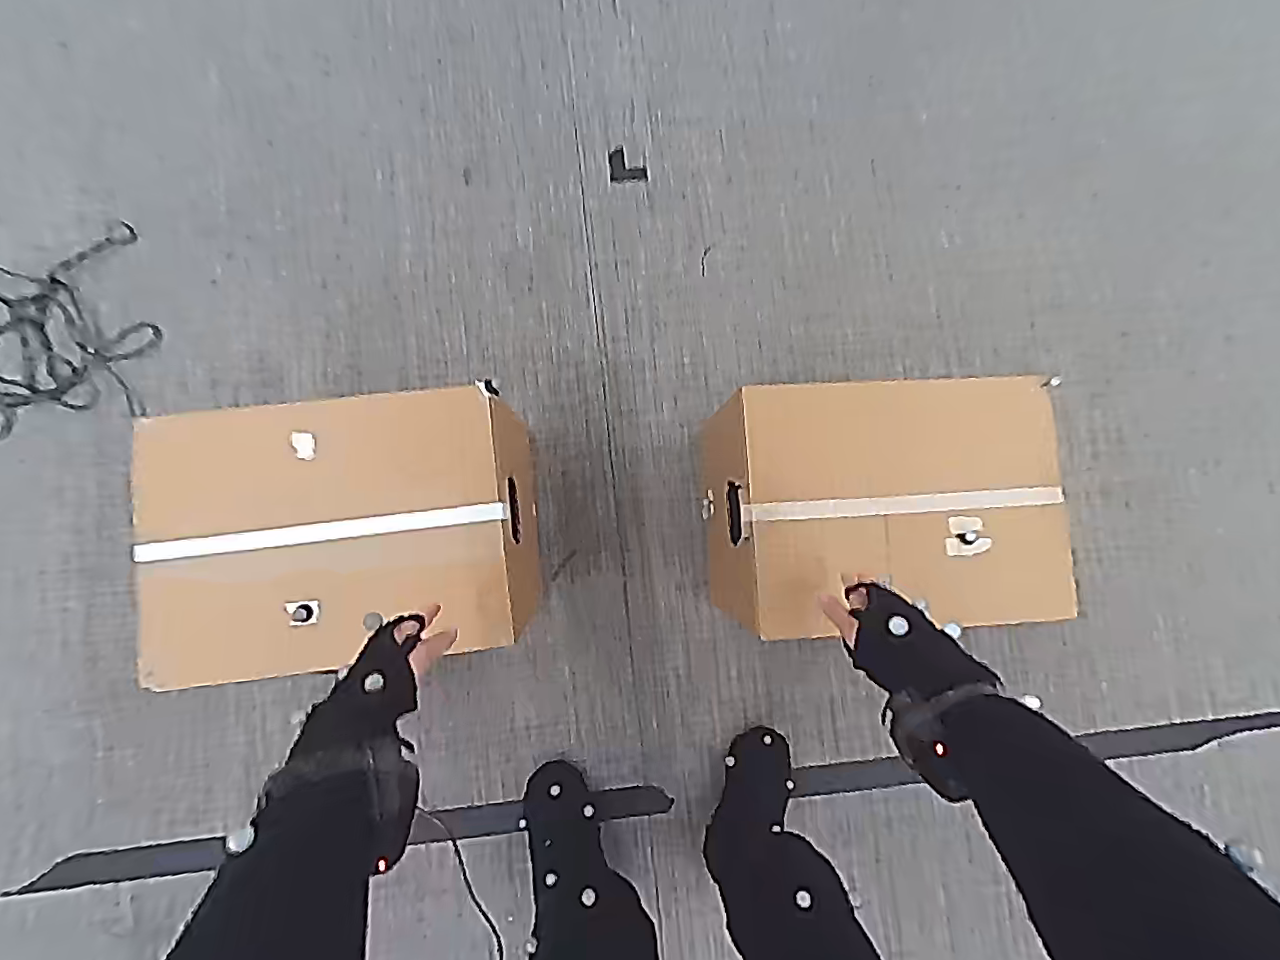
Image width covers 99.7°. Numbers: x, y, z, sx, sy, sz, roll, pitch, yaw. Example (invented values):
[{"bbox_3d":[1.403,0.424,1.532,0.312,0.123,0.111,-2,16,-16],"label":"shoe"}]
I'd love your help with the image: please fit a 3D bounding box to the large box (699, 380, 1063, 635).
[{"bbox_3d":[0.324,0.044,0.838,0.408,0.320,0.320,-2,85,-5],"label":"large box"}]
